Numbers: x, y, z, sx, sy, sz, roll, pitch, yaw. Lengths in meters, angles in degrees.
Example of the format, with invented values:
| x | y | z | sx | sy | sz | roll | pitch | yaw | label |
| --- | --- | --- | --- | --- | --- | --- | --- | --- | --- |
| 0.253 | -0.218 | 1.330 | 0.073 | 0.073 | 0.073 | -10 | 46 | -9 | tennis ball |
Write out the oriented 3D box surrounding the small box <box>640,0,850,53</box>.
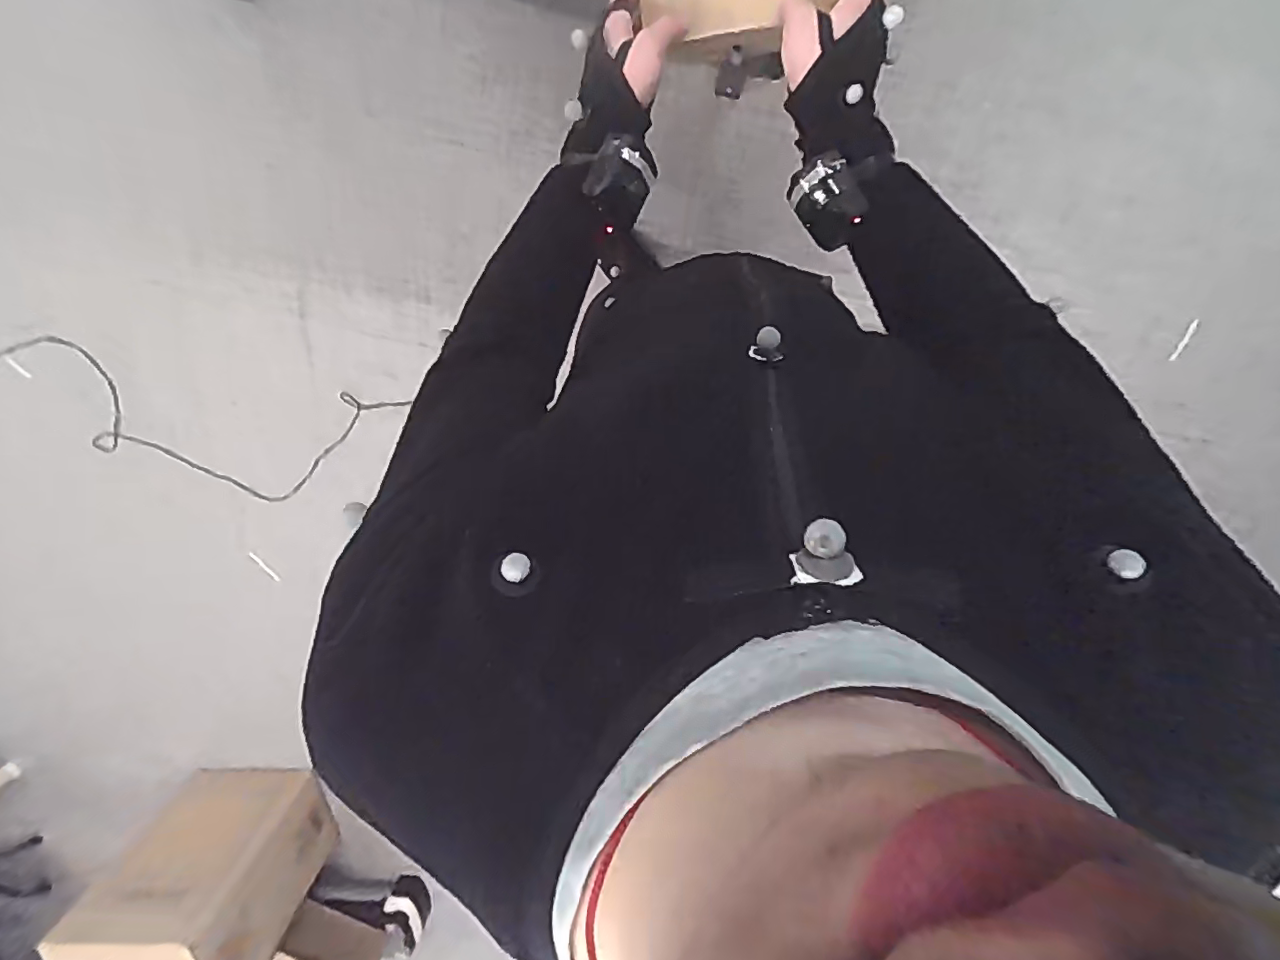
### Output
| x | y | z | sx | sy | sz | roll | pitch | yaw | label |
| --- | --- | --- | --- | --- | --- | --- | --- | --- | --- |
| 0.094 | -0.499 | 0.478 | 0.179 | 0.176 | 0.168 | 1 | 121 | 12 | small box |
